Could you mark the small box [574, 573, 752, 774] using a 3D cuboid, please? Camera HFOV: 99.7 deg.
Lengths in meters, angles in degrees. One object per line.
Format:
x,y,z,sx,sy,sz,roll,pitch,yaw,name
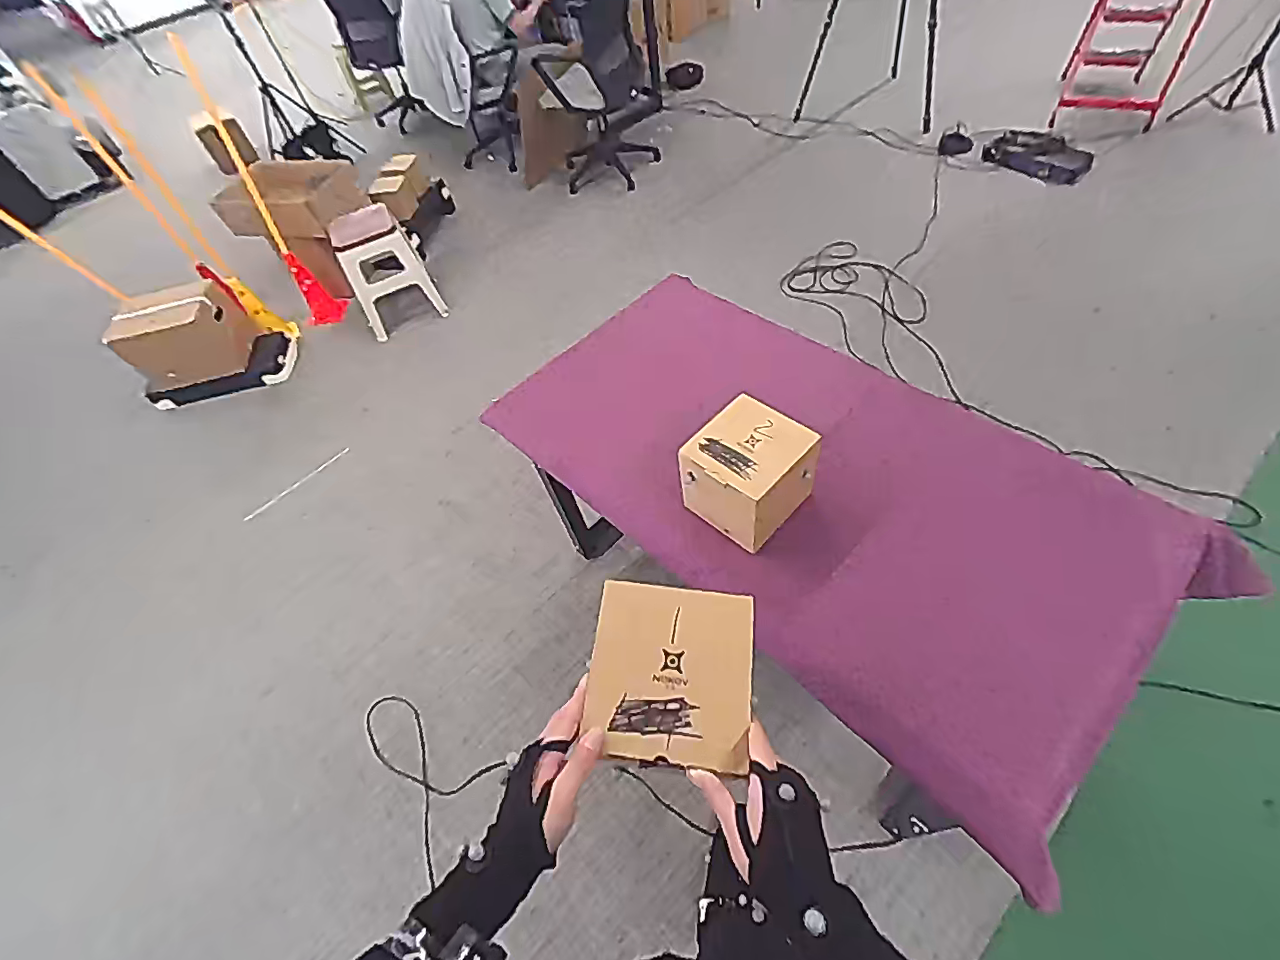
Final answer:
0.030,0.227,0.620,0.168,0.176,0.179,7,59,5,small box
